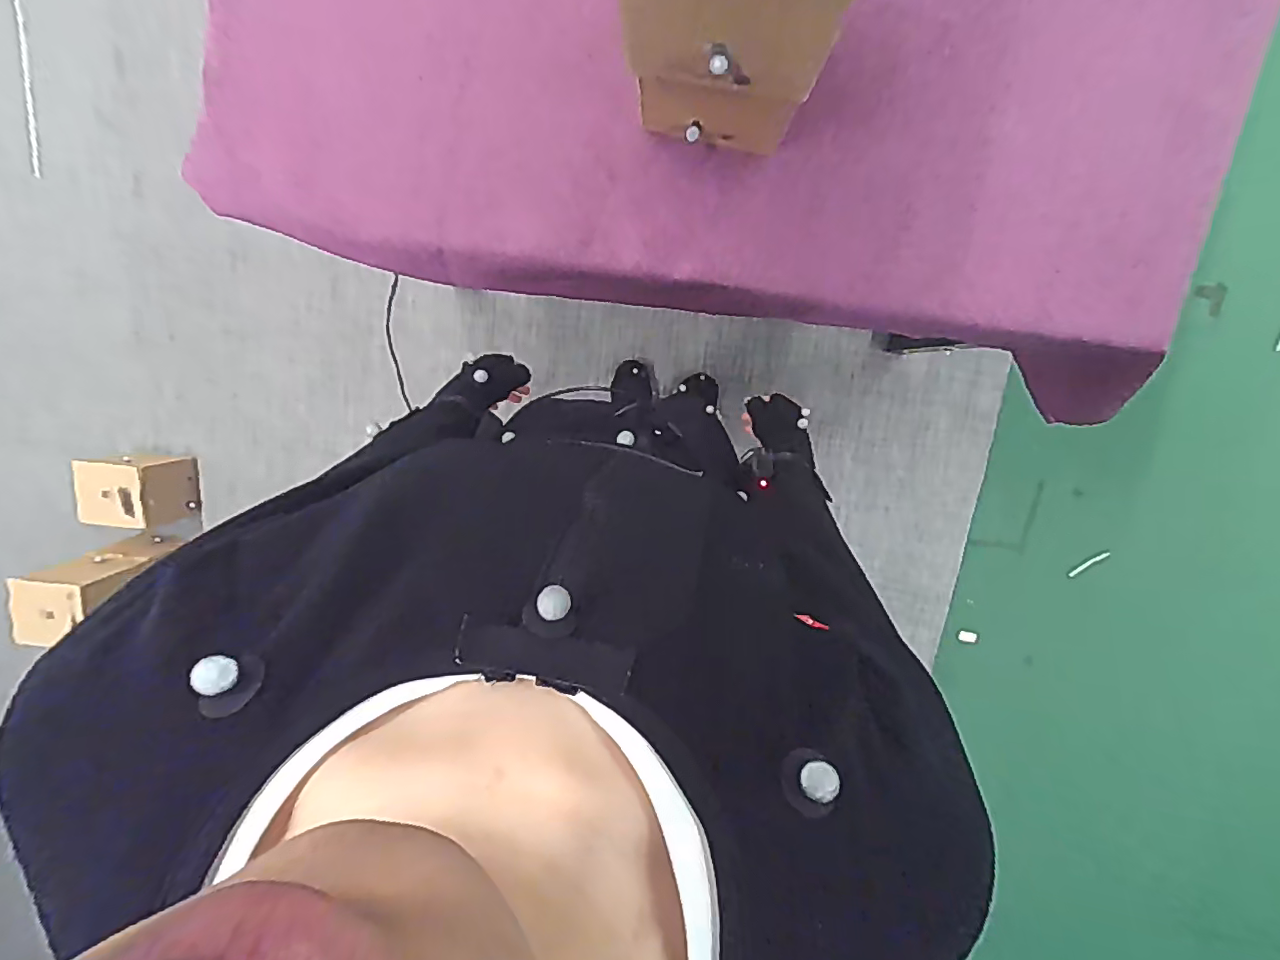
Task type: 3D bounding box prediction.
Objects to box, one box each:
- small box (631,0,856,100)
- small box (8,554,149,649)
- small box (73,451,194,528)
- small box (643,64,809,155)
[{"bbox_3d":[0.084,-0.429,0.399,0.168,0.176,0.179,11,101,1],"label":"small box"},{"bbox_3d":[-1.366,0.291,1.327,0.179,0.176,0.168,7,101,1],"label":"small box"},{"bbox_3d":[-1.331,0.020,1.438,0.179,0.176,0.168,6,101,1],"label":"small box"},{"bbox_3d":[0.097,-0.474,0.557,0.168,0.176,0.179,12,102,0],"label":"small box"}]
